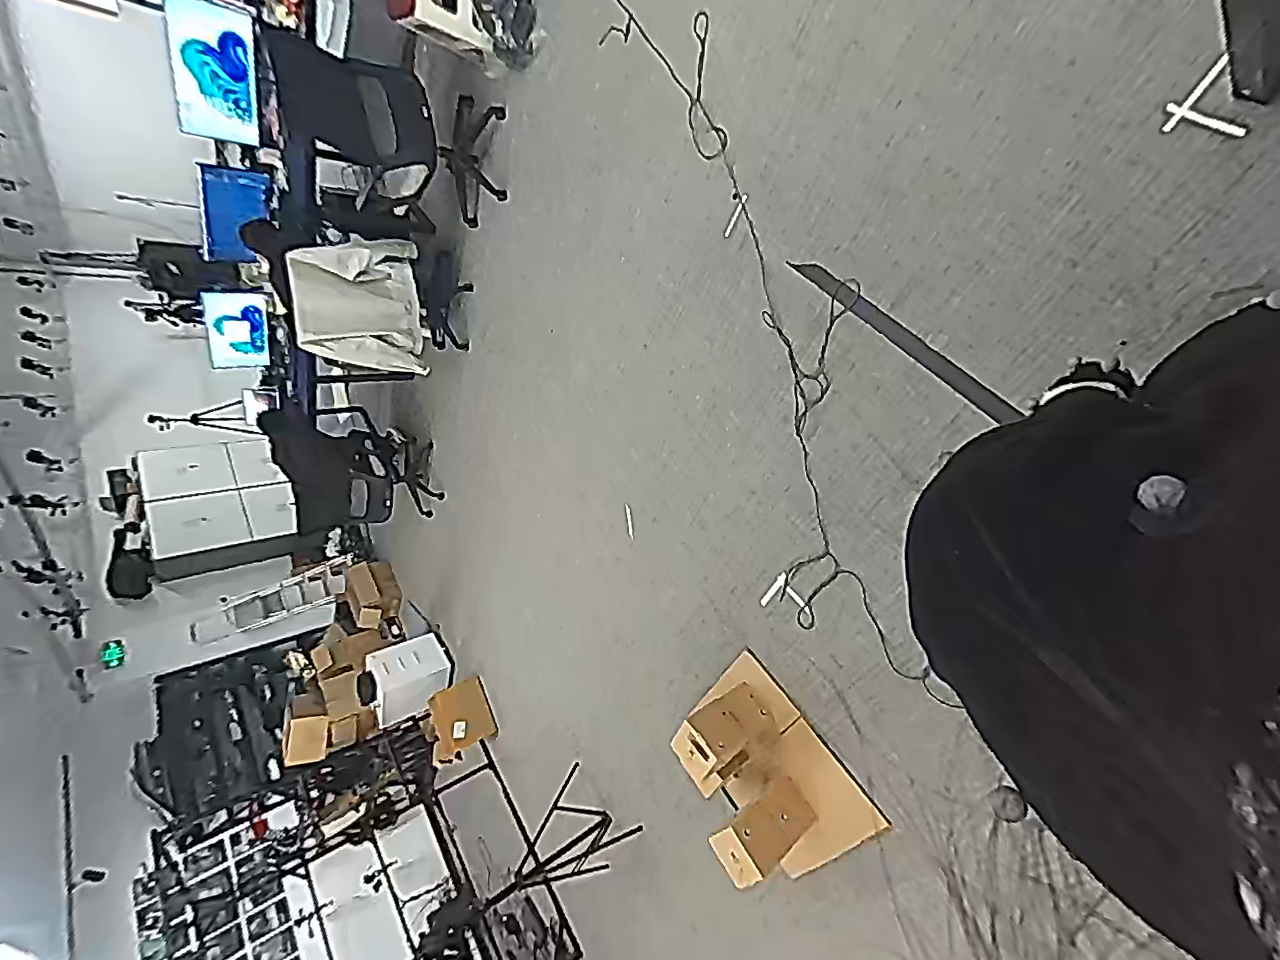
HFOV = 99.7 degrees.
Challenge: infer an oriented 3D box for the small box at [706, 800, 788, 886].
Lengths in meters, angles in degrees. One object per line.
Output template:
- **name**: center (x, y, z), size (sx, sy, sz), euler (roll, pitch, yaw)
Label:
- **small box**: center (0.367, 1.236, 1.855), size (0.179, 0.176, 0.168), euler (52, 134, 25)

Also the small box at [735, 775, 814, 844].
- **small box**: center (0.488, 1.205, 1.961), size (0.179, 0.176, 0.168), euler (52, 133, 25)

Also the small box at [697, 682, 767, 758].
- **small box**: center (0.352, 0.898, 2.038), size (0.168, 0.176, 0.179), euler (46, 131, 31)

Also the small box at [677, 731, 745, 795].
- **small box**: center (0.287, 1.112, 2.172), size (0.179, 0.176, 0.168), euler (46, 132, 31)
